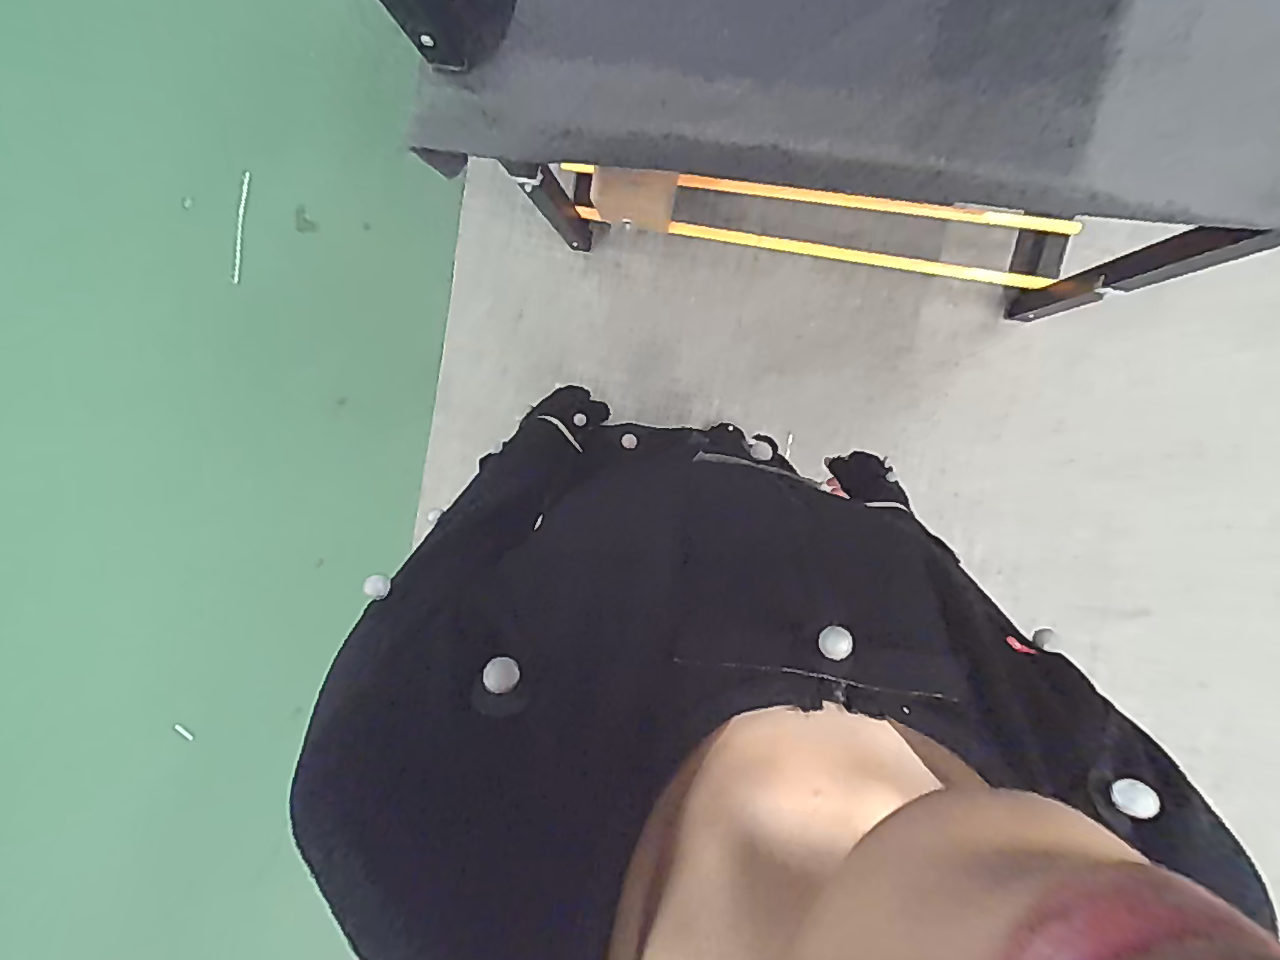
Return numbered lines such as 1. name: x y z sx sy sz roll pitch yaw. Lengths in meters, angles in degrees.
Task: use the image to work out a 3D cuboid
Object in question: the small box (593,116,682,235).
1. small box: 0.001 -0.684 1.230 0.168 0.176 0.179 11 99 6
